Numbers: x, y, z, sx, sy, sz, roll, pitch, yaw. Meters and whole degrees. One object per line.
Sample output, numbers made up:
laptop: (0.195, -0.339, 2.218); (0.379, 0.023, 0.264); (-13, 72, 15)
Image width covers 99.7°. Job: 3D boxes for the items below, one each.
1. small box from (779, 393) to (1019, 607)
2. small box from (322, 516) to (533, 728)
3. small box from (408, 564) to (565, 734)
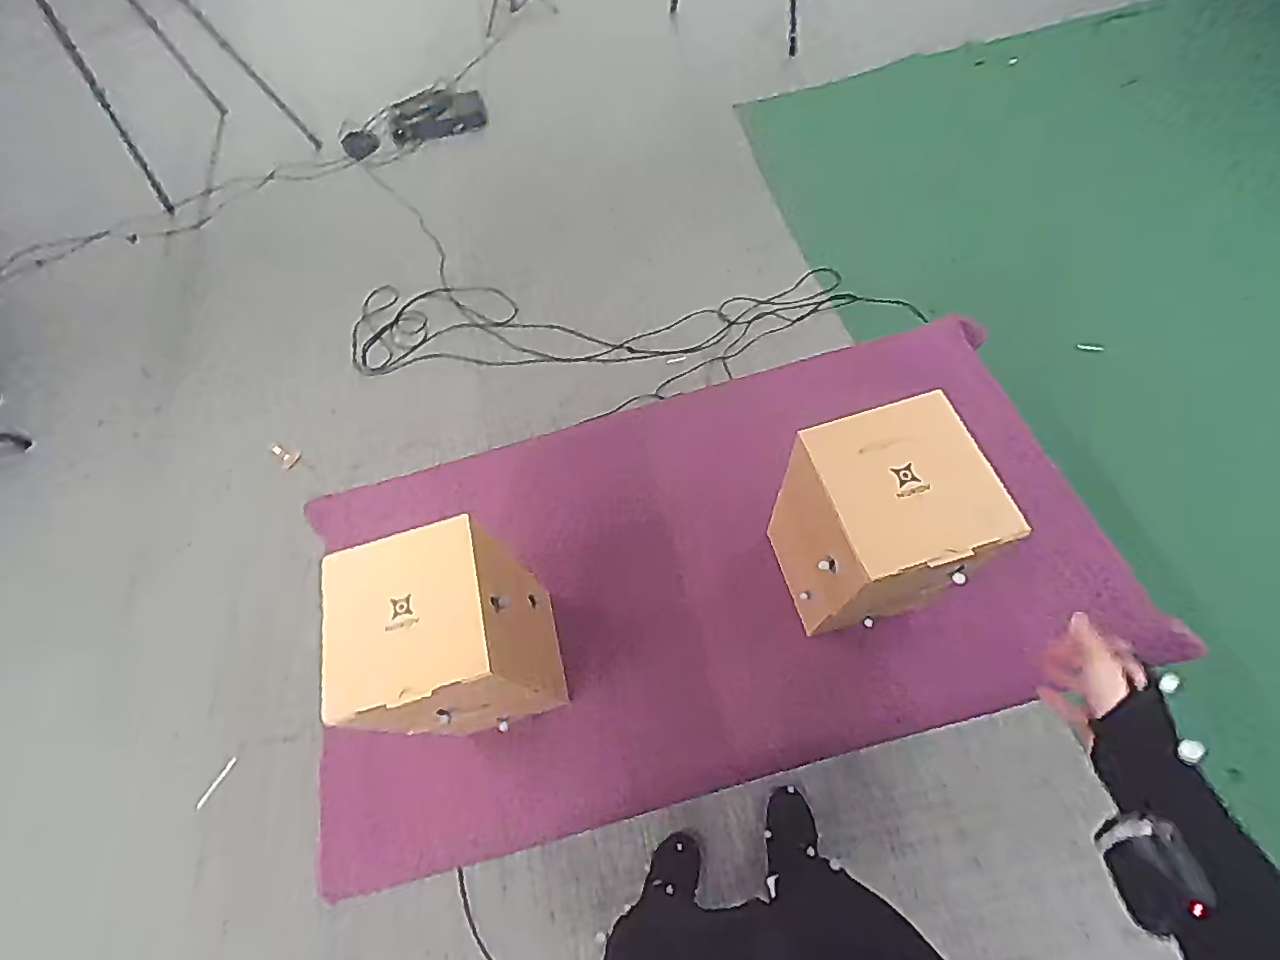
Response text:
small box: (0.272, 0.035, 0.619); (0.168, 0.176, 0.179); (-16, 63, -1)
small box: (-0.235, 0.170, 0.622); (0.168, 0.176, 0.179); (-17, 63, -2)
small box: (-0.216, 0.245, 0.765); (0.168, 0.176, 0.179); (-16, 62, 0)
